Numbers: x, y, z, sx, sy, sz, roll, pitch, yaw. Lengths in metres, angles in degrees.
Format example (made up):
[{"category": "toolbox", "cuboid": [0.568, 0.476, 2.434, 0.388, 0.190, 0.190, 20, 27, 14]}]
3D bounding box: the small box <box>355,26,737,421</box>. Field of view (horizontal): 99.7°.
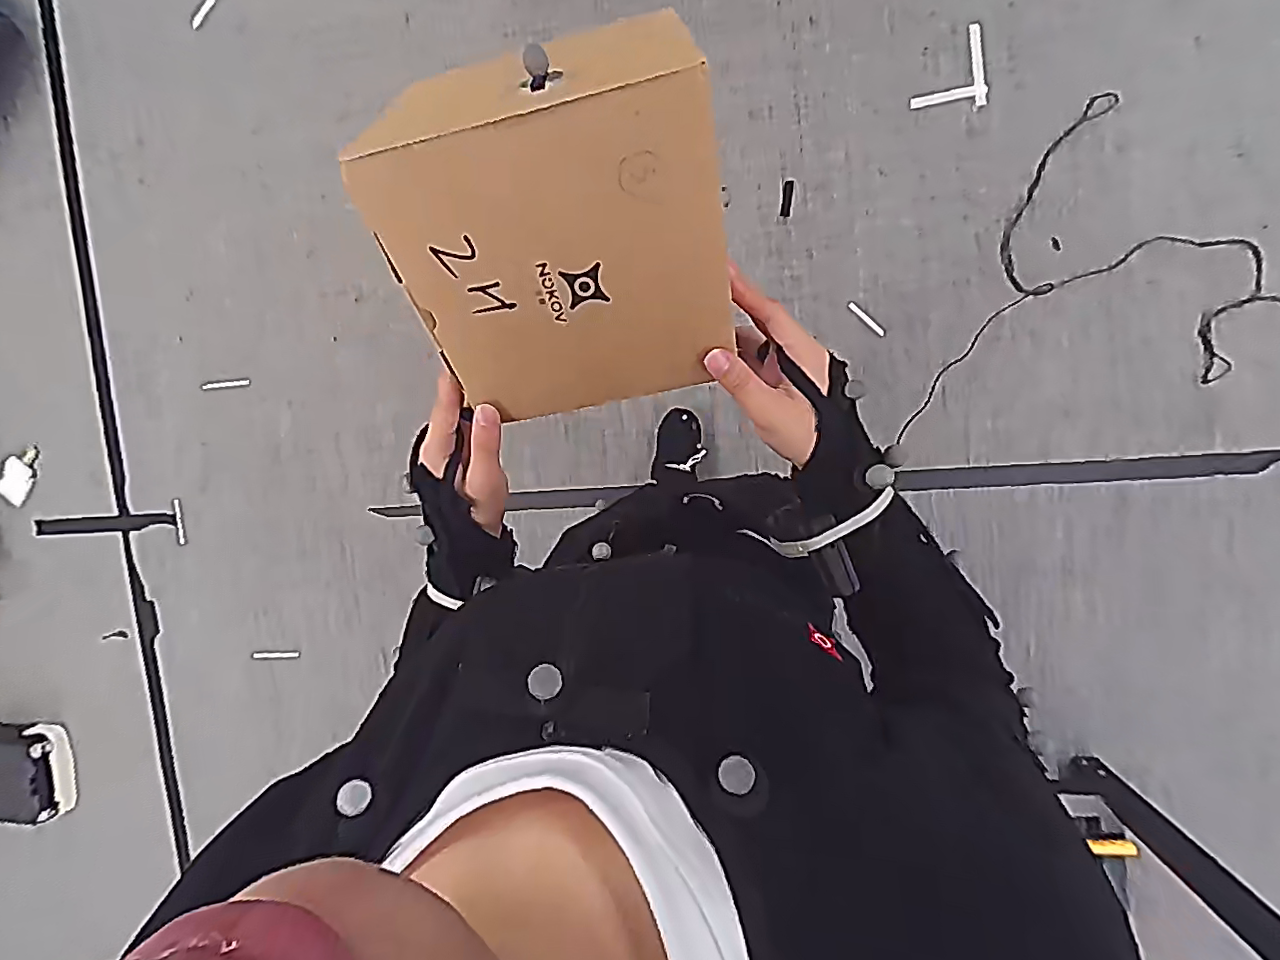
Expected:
[{"category": "small box", "cuboid": [-0.042, -0.167, 0.356, 0.179, 0.176, 0.168, -10, 136, 7]}]
